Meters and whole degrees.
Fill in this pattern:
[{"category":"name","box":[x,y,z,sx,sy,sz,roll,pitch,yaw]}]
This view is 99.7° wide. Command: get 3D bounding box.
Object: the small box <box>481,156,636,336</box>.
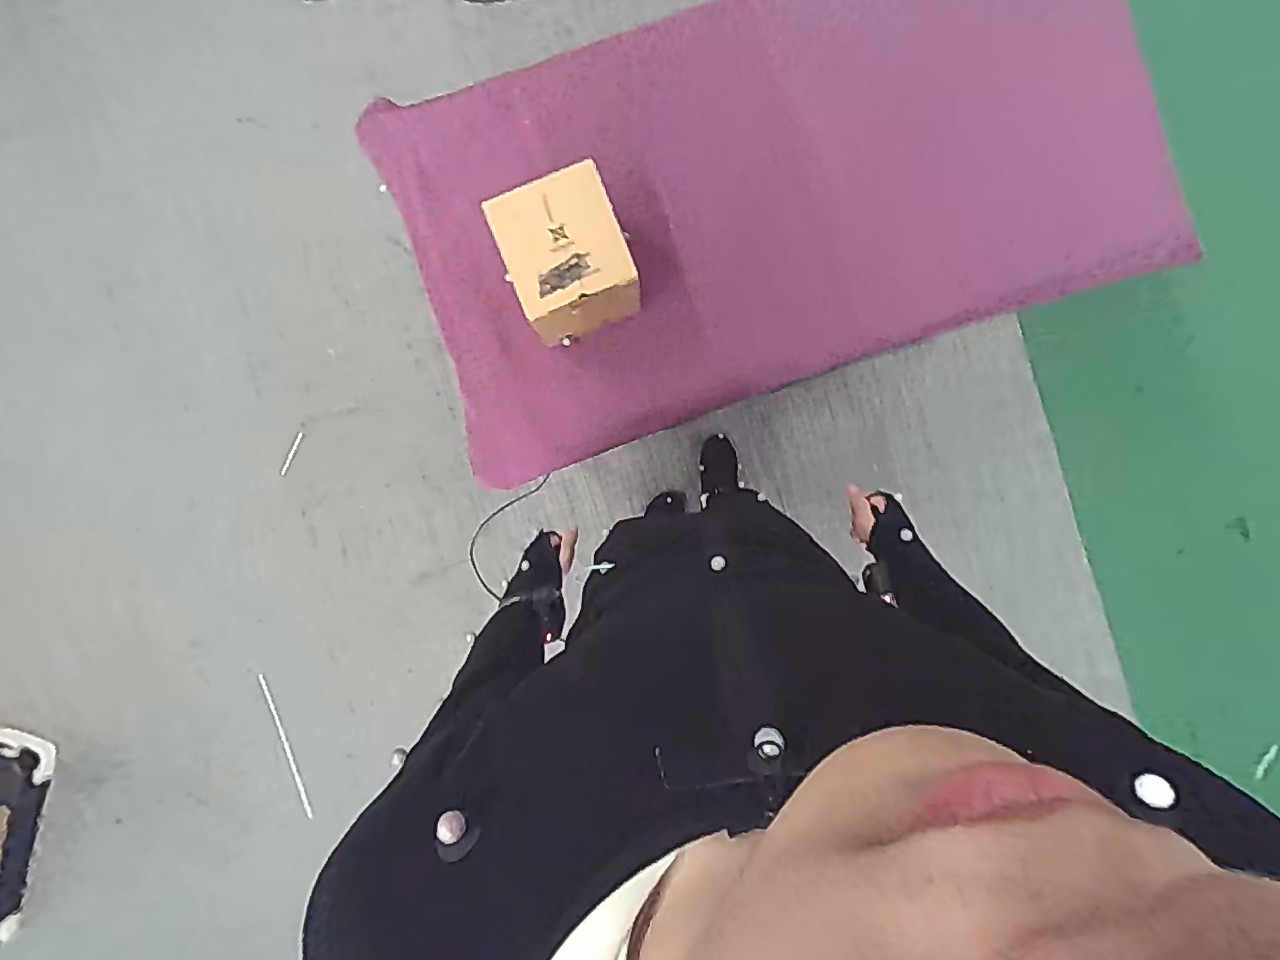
[{"category":"small box","box":[-0.109,-0.333,0.814,0.168,0.176,0.179,-22,90,1]}]
